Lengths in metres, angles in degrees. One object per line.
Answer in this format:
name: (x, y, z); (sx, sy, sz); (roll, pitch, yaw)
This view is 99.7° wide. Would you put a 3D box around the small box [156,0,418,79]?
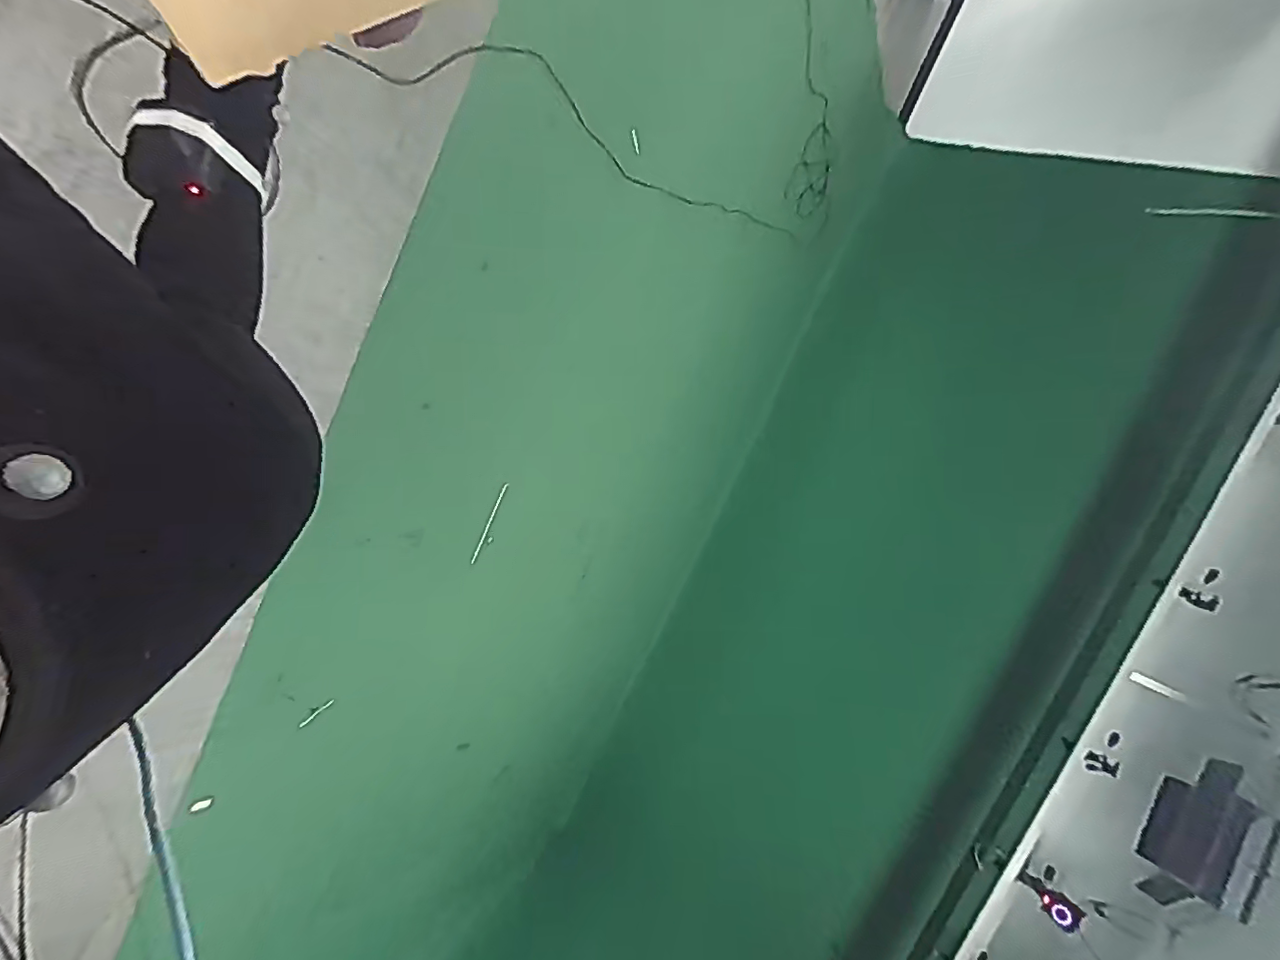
small box: (-0.217, -0.367, 0.292); (0.168, 0.179, 0.176); (-25, 145, -2)
